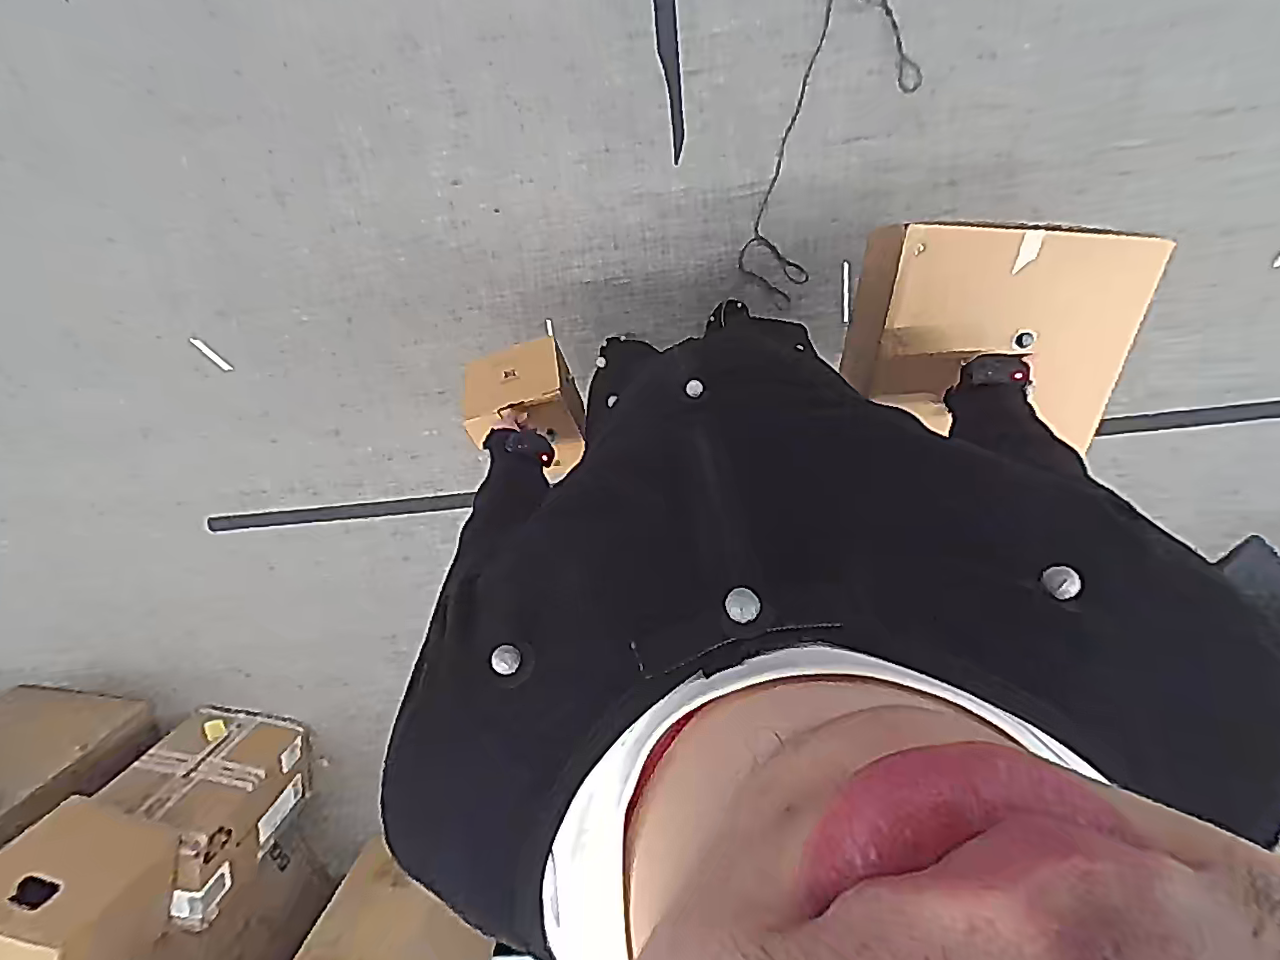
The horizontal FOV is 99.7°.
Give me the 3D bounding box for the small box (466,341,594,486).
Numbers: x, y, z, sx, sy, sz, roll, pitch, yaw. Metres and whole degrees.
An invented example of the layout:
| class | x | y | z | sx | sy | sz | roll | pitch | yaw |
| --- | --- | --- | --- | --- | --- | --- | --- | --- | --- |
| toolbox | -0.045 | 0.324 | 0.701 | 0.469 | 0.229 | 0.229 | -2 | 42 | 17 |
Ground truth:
| class | x | y | z | sx | sy | sz | roll | pitch | yaw |
| --- | --- | --- | --- | --- | --- | --- | --- | --- | --- |
| small box | -0.188 | -0.109 | 0.955 | 0.168 | 0.179 | 0.176 | -18 | 133 | 3 |
